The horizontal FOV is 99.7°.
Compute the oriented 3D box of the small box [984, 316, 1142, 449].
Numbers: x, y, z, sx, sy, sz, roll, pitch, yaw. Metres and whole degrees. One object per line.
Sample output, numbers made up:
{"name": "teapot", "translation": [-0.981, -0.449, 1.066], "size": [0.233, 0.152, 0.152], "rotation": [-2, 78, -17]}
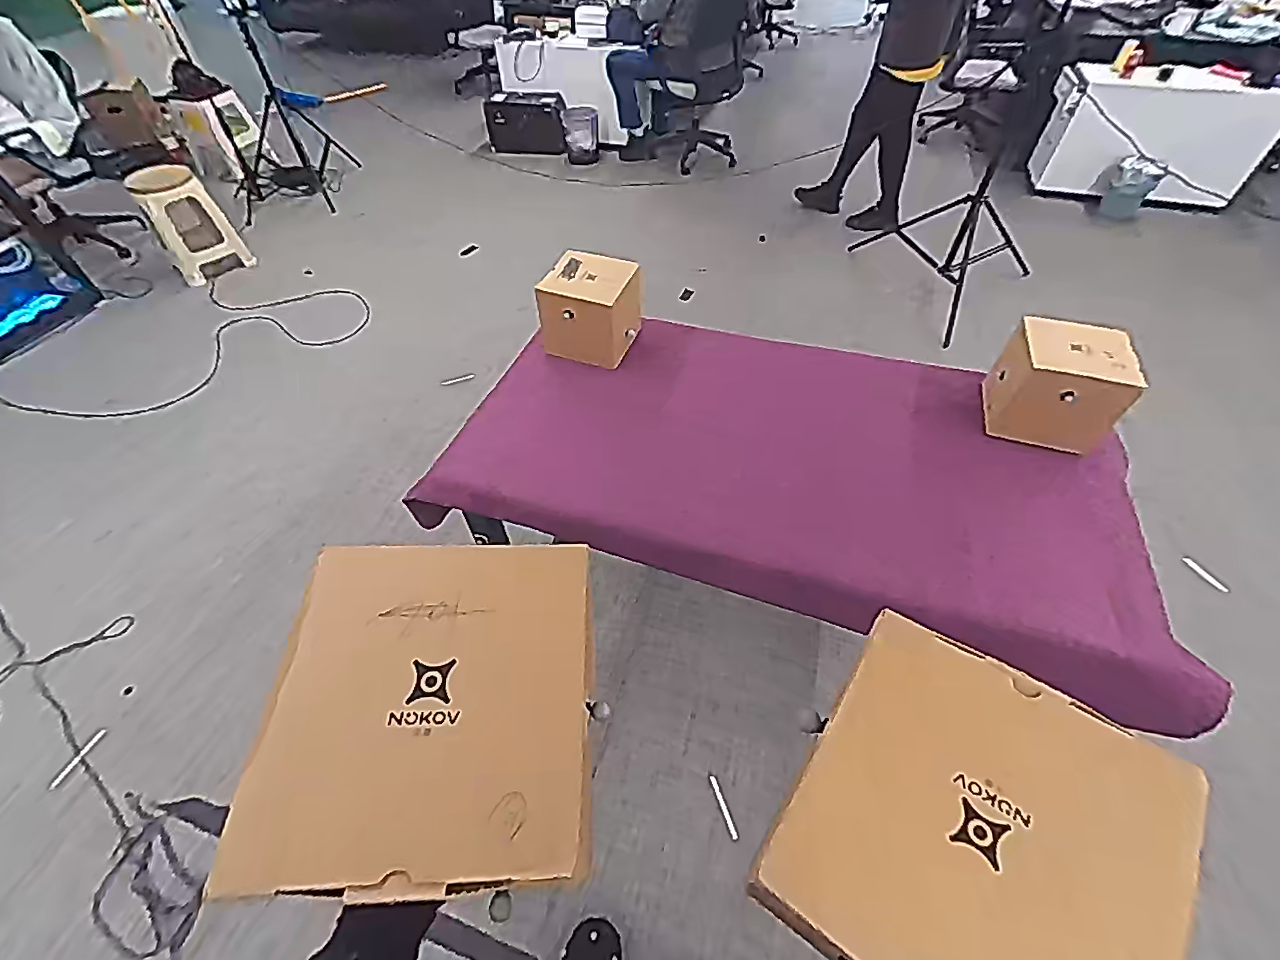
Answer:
{"name": "small box", "translation": [0.777, -0.181, 1.021], "size": [0.179, 0.176, 0.168], "rotation": [15, 53, 12]}

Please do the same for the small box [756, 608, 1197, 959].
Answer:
{"name": "small box", "translation": [0.183, 0.221, 0.335], "size": [0.168, 0.176, 0.179], "rotation": [25, 57, 25]}

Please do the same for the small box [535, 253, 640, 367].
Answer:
{"name": "small box", "translation": [-0.108, -0.375, 1.201], "size": [0.179, 0.176, 0.168], "rotation": [16, 54, 13]}

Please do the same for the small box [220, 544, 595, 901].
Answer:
{"name": "small box", "translation": [-0.114, 0.159, 0.357], "size": [0.168, 0.176, 0.179], "rotation": [0, 53, -5]}
